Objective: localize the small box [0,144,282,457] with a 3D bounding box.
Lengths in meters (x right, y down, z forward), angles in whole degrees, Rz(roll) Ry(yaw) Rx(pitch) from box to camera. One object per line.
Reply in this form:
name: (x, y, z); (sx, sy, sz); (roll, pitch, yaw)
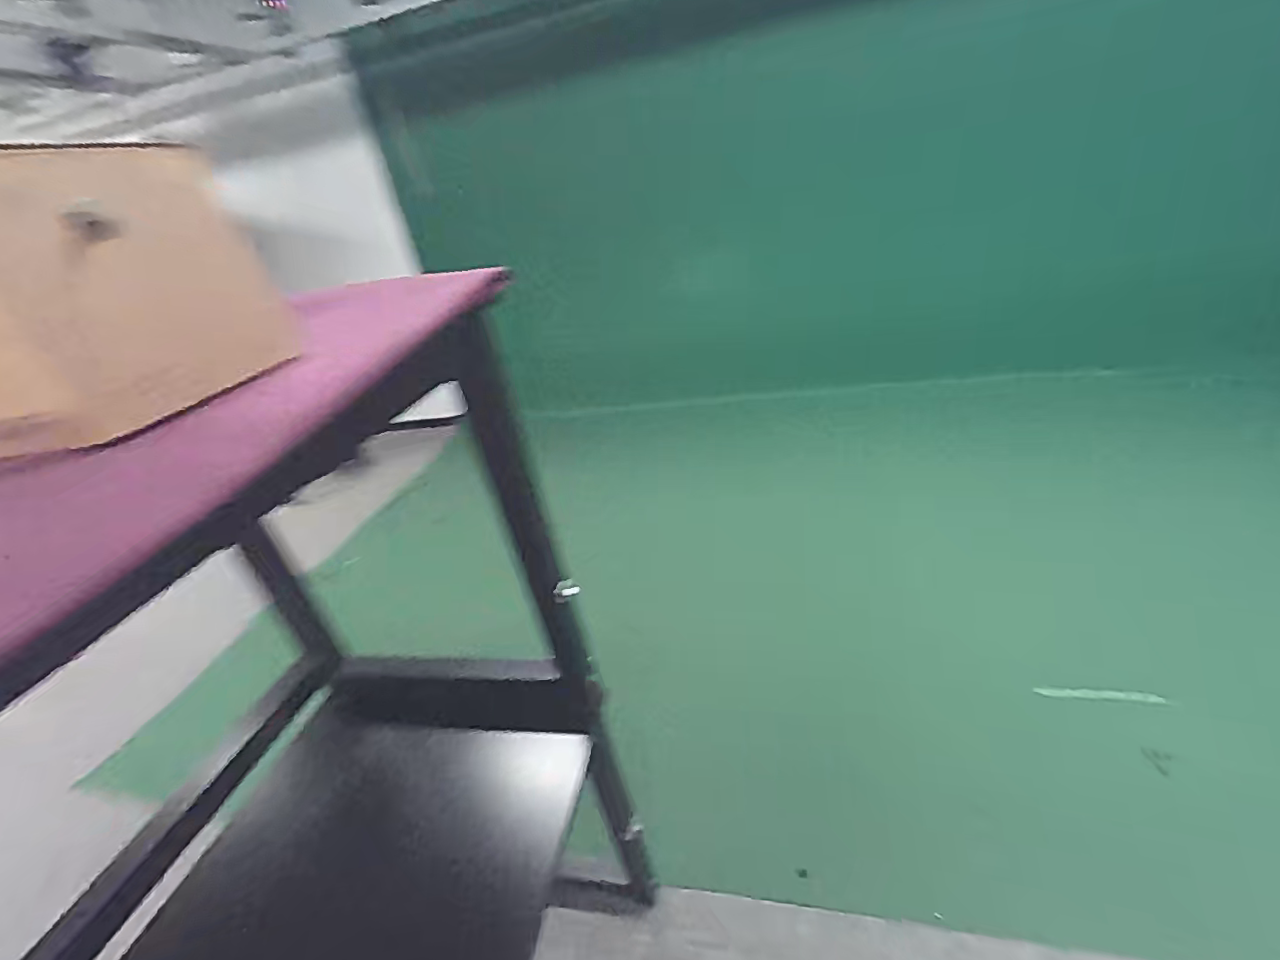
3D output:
small box: (-0.418, -0.125, 0.393); (0.168, 0.176, 0.179); (-4, 30, 16)
